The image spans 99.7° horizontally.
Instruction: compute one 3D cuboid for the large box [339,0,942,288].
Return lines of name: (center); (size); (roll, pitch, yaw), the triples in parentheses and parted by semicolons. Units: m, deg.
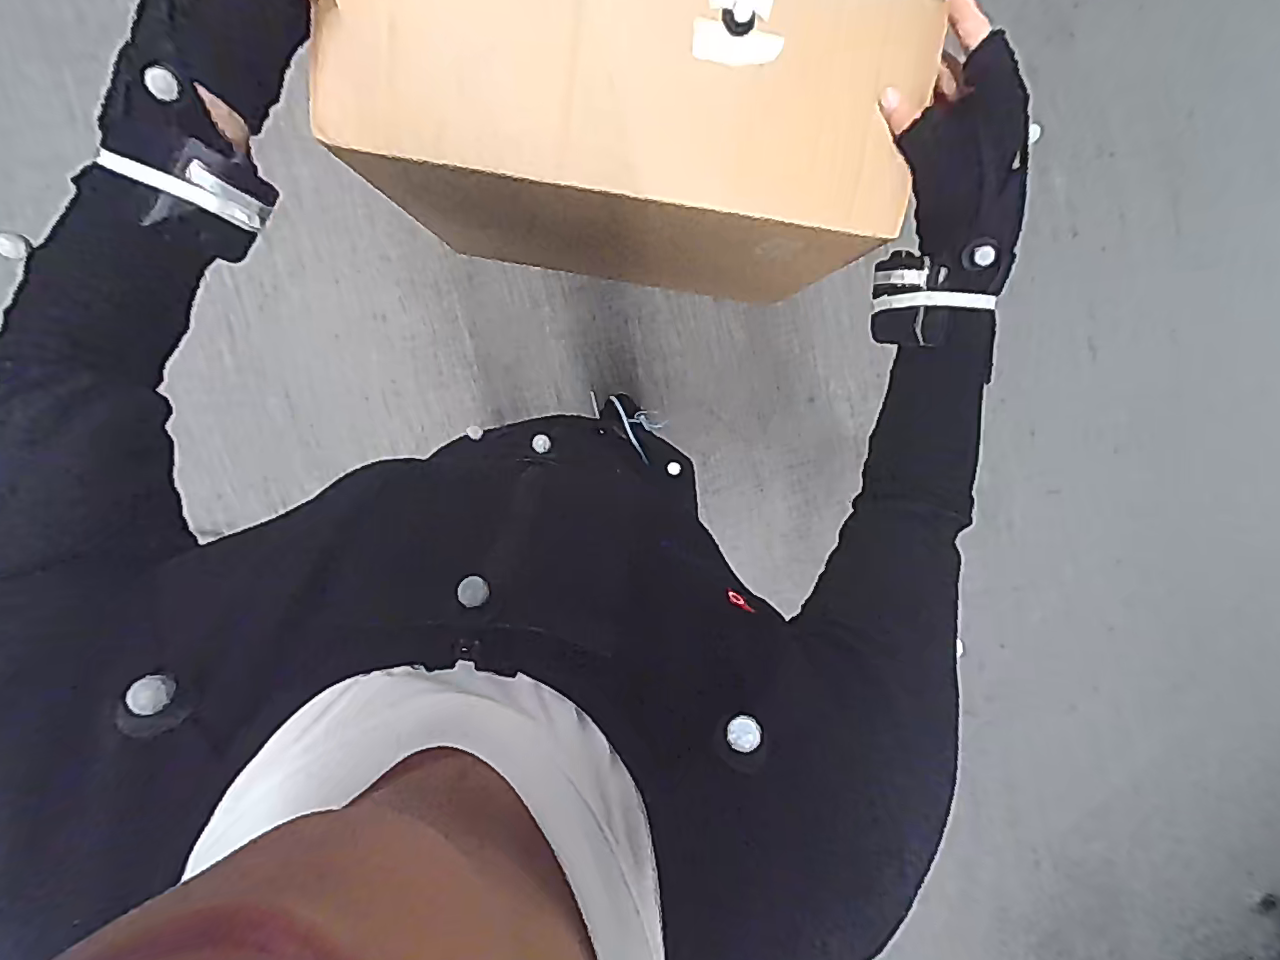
large box: (0.002, -0.385, 0.498); (0.408, 0.320, 0.320); (7, 100, -5)
